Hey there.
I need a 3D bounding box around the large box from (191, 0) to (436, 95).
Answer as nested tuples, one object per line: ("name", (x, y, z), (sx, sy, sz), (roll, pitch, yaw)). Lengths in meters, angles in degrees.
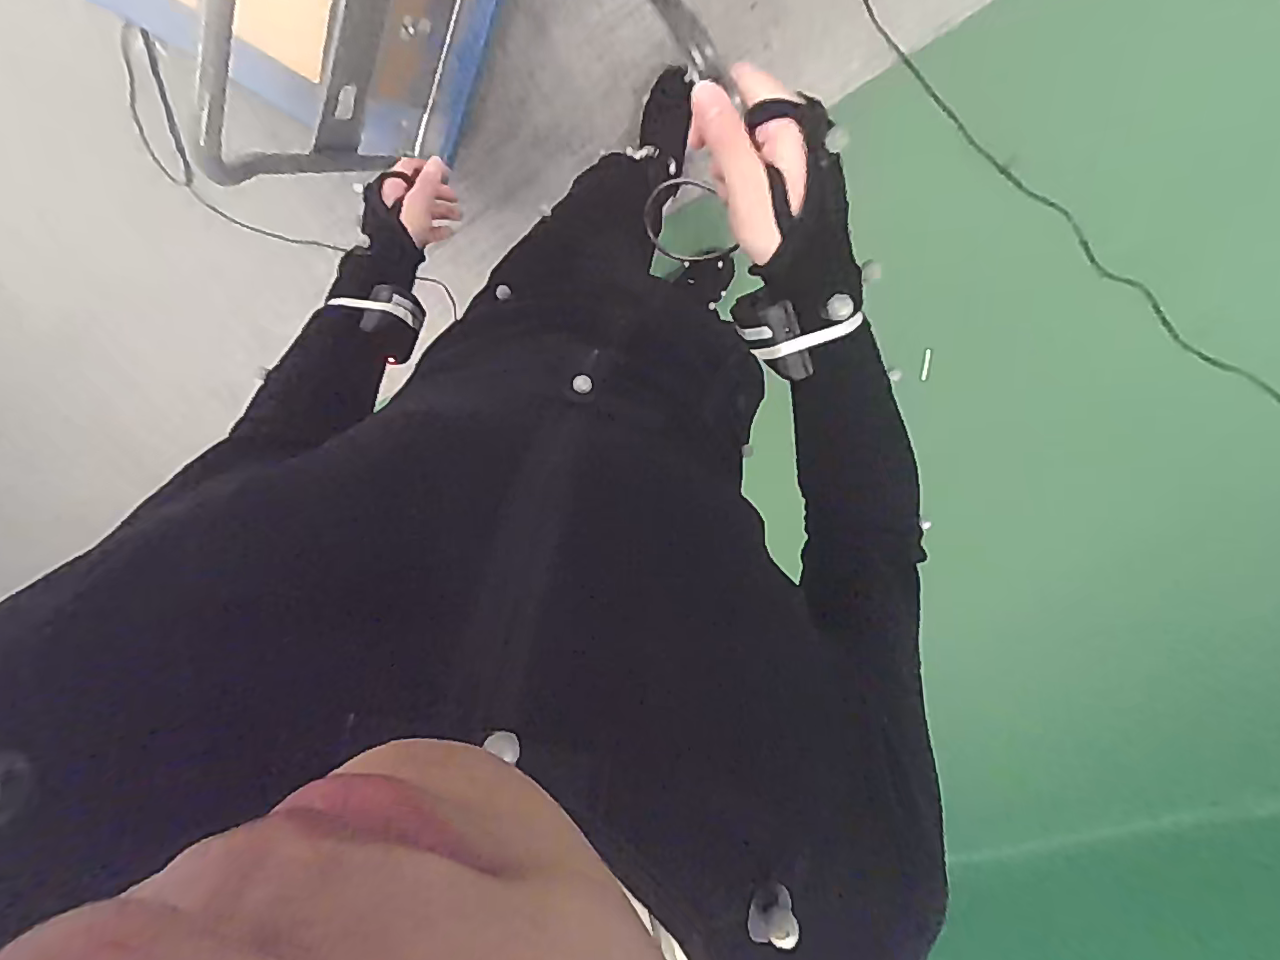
("large box", (-0.603, -0.942, 0.923), (0.408, 0.320, 0.320), (29, 119, -7))
